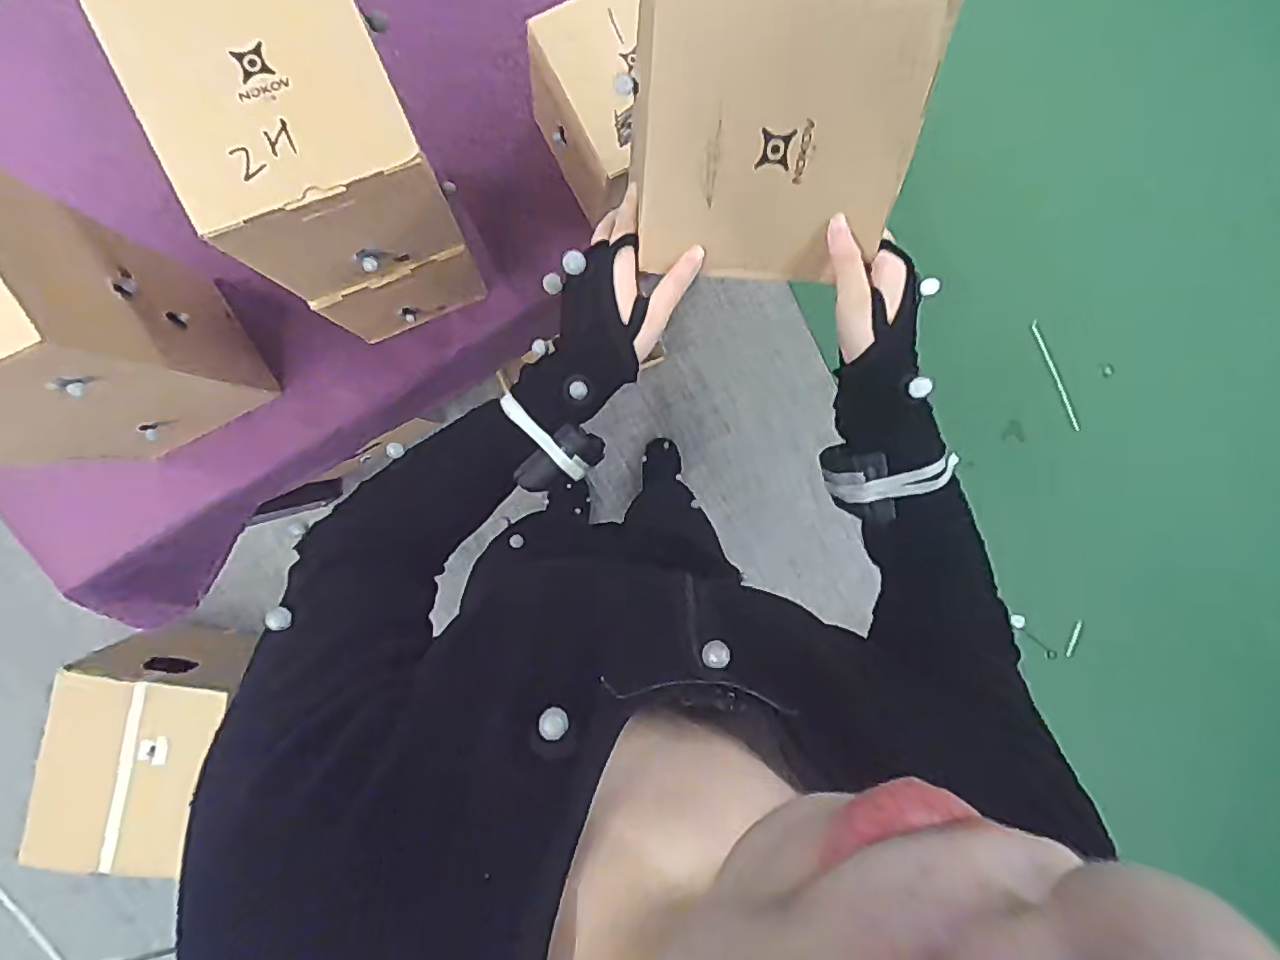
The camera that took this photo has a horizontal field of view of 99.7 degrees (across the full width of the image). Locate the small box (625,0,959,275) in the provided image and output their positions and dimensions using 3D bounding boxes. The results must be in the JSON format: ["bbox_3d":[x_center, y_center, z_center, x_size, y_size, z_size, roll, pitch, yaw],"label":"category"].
[{"bbox_3d":[0.084,-0.268,0.405,0.179,0.176,0.168,1,129,-5],"label":"small box"}]

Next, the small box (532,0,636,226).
[{"bbox_3d":[-0.012,-0.436,0.650,0.168,0.176,0.179,-29,96,-5],"label":"small box"}]

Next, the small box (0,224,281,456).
[{"bbox_3d":[-0.551,-0.137,0.592,0.179,0.176,0.168,-29,98,-5],"label":"small box"}]

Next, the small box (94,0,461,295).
[{"bbox_3d":[-0.273,-0.284,0.457,0.168,0.176,0.179,-23,97,-5],"label":"small box"}]

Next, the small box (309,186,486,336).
[{"bbox_3d":[-0.295,-0.288,0.622,0.168,0.176,0.179,-25,98,-6],"label":"small box"}]

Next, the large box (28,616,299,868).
[{"bbox_3d":[-1.045,0.570,1.233,0.320,0.320,0.408,13,91,-10],"label":"large box"}]
